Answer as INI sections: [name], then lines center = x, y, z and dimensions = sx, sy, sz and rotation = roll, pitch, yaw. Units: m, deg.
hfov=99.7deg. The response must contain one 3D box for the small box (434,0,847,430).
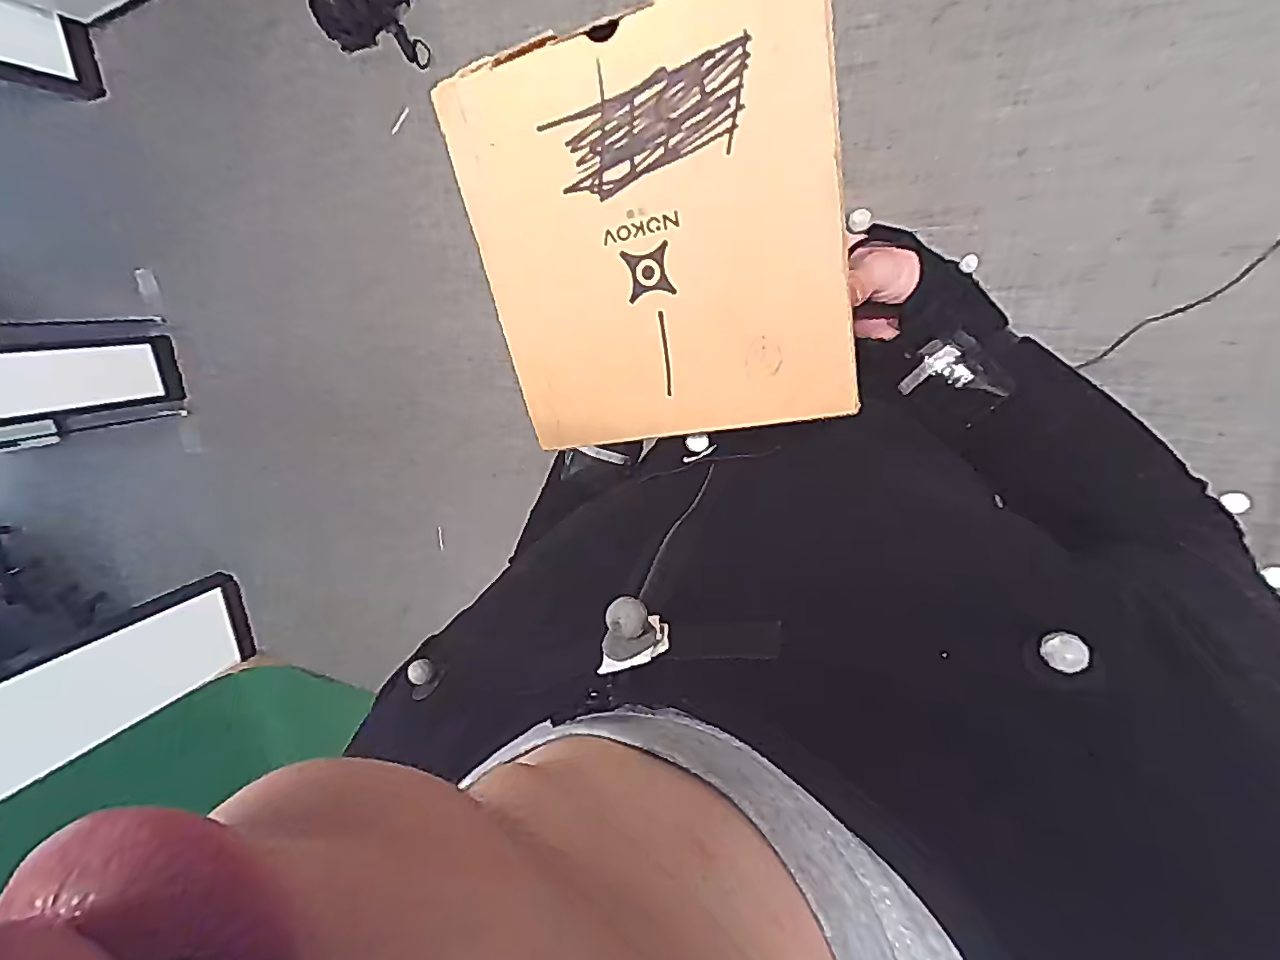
[small box]
center = 0.023, -0.144, 0.312
dimensions = 0.168, 0.176, 0.179
rotation = -4, 114, 20
